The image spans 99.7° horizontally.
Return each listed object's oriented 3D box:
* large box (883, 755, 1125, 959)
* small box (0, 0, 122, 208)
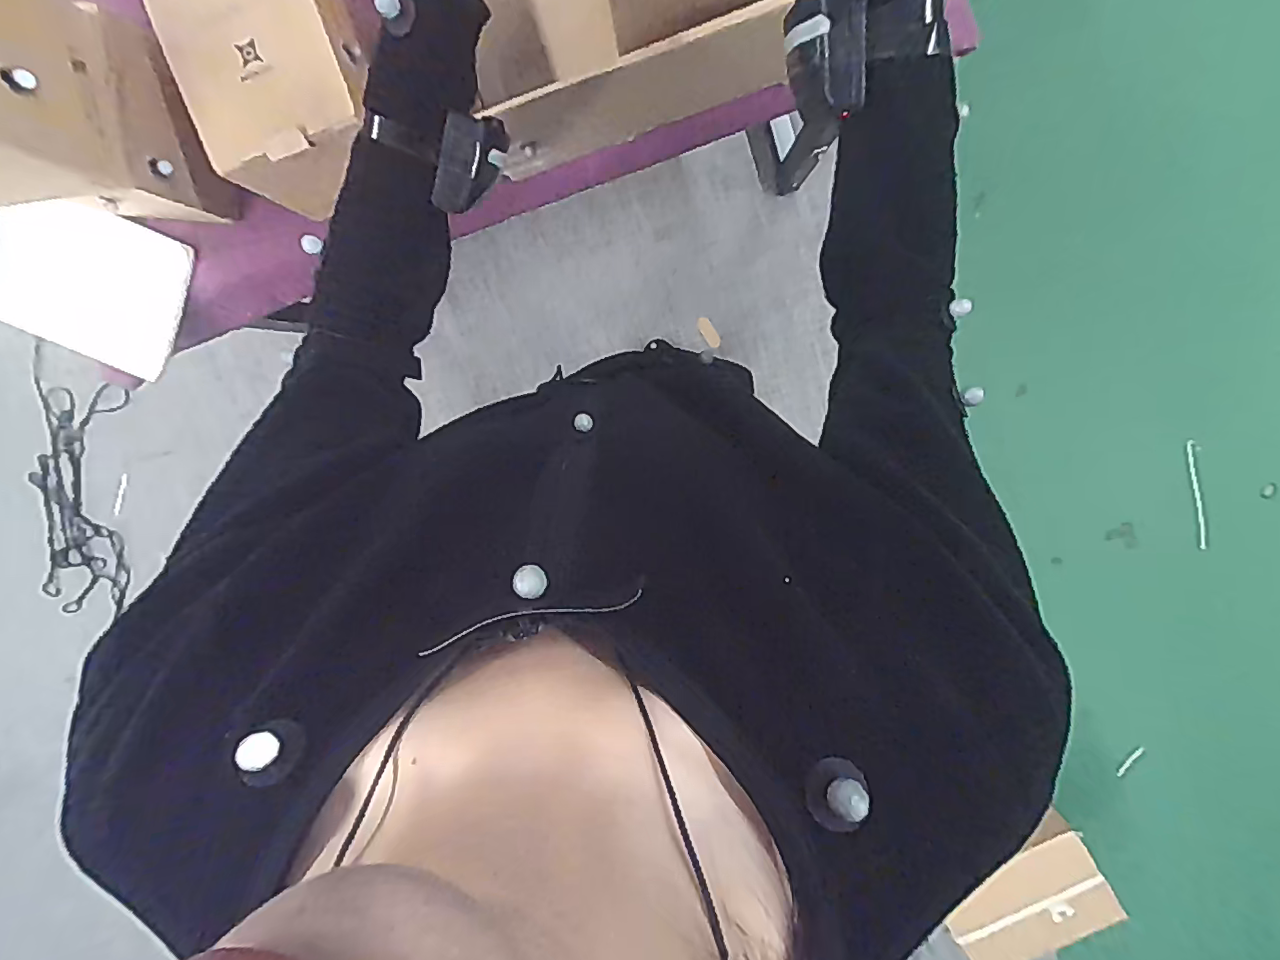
[{"bbox_3d":[0.988,1.076,1.521,0.408,0.320,0.320,-33,98,7],"label":"large box"},{"bbox_3d":[-0.620,-0.358,0.479,0.179,0.176,0.168,-5,101,4],"label":"small box"}]
